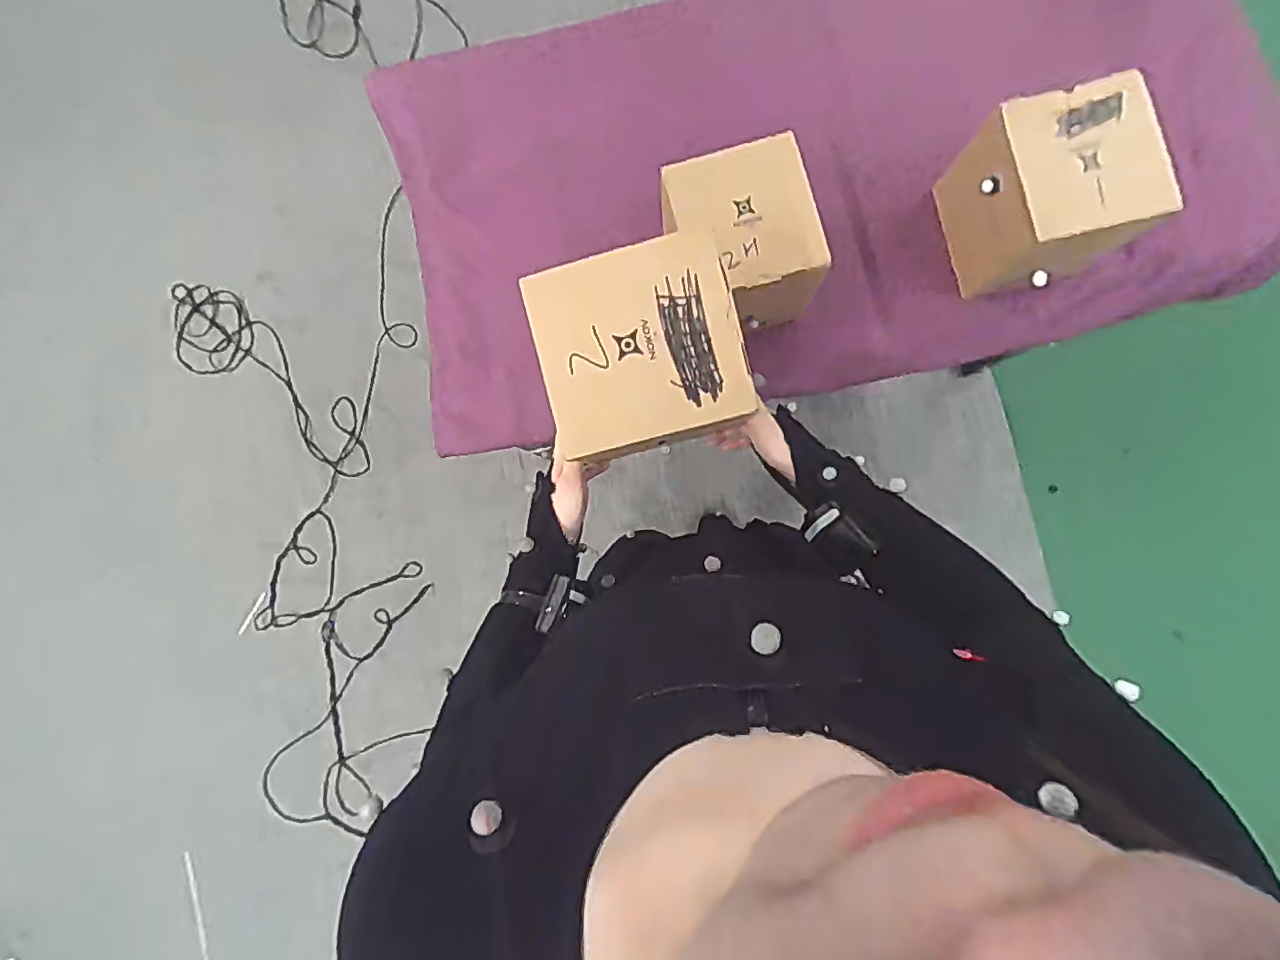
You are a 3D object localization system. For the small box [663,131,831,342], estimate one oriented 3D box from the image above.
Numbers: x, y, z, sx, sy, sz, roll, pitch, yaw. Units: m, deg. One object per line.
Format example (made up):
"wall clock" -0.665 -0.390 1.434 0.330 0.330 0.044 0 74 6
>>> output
"small box" 0.130 -0.310 0.722 0.168 0.176 0.179 -15 84 3

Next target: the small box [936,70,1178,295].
"small box" 0.519 -0.371 0.704 0.168 0.176 0.179 -13 86 3
